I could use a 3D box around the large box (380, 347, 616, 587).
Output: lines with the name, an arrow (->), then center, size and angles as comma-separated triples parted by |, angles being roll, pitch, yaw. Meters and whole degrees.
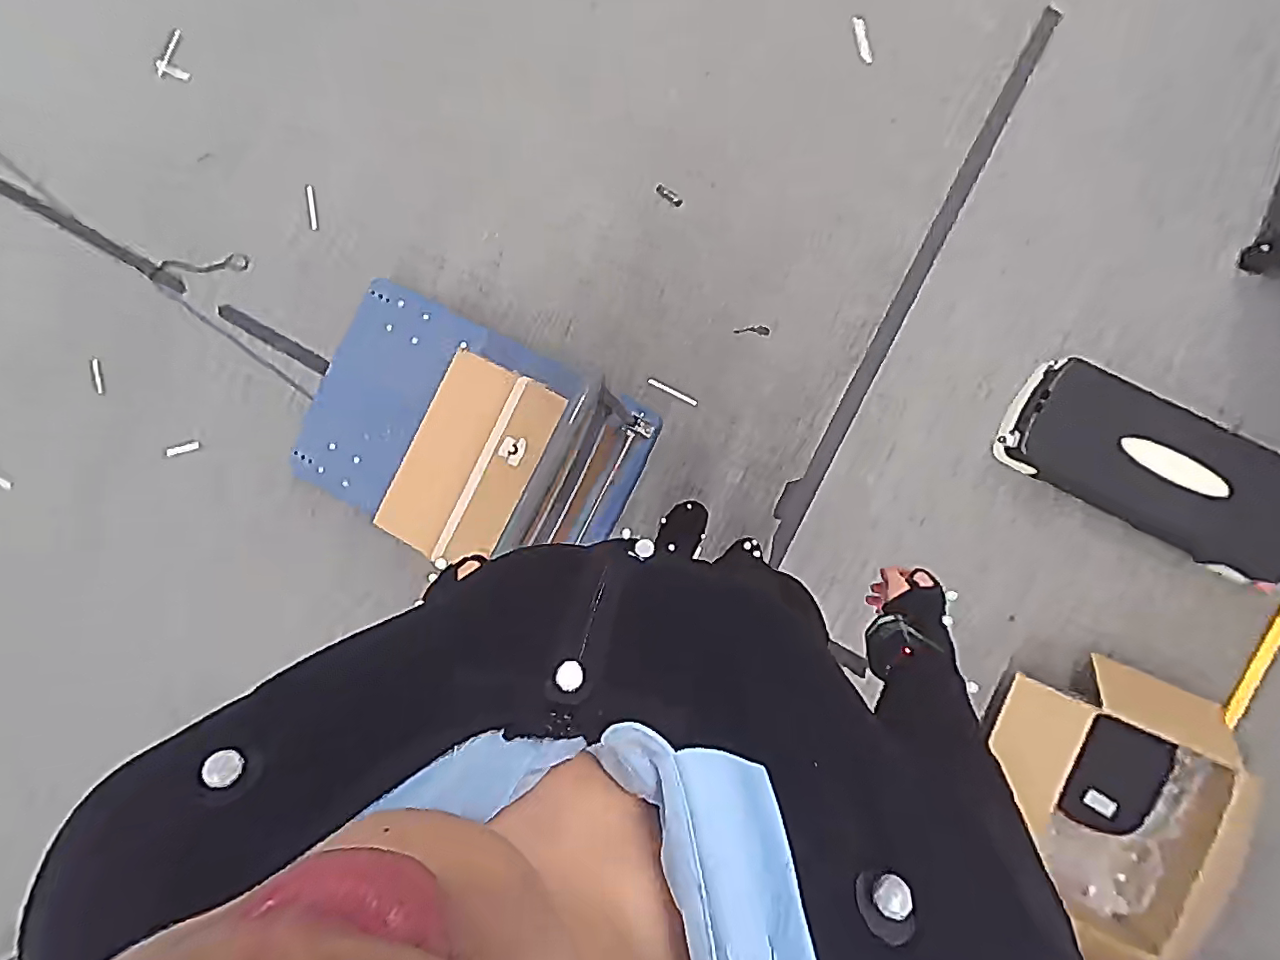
large box -> -0.296, -0.021, 1.231 | 0.320, 0.320, 0.408 | 27, 91, 6
